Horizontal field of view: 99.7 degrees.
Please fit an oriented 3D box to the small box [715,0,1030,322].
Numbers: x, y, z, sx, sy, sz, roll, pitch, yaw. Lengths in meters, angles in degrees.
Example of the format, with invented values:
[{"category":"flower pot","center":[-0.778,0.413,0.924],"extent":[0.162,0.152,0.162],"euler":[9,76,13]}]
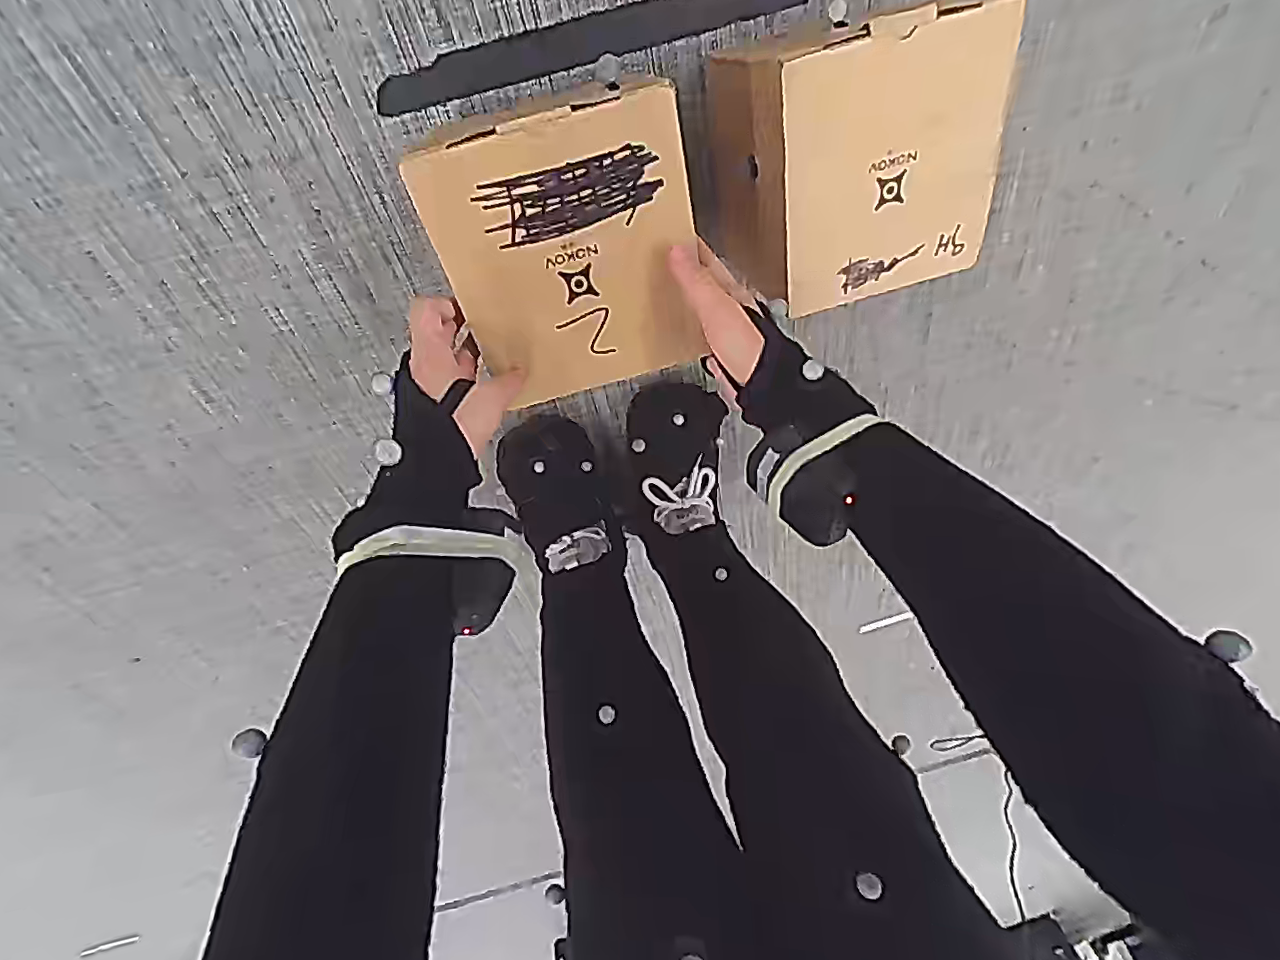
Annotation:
[{"category":"small box","center":[0.169,-0.262,0.452],"extent":[0.168,0.176,0.179],"euler":[-16,129,-2]}]
